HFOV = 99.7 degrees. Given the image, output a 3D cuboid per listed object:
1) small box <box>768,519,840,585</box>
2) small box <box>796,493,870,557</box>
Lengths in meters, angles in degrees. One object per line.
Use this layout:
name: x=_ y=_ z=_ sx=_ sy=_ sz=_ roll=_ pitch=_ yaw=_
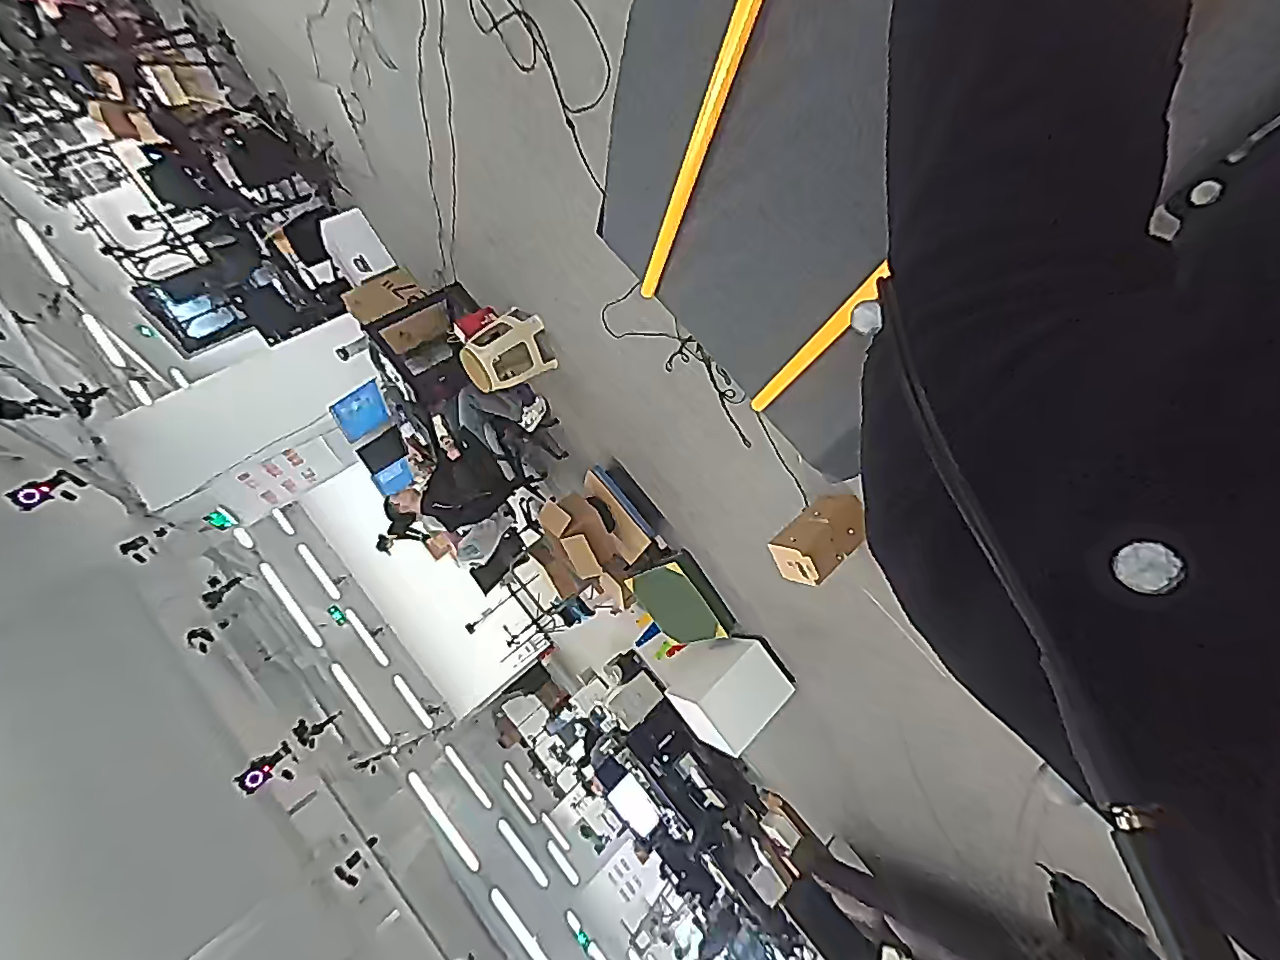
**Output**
small box: x=0.617 y=0.262 z=2.010 sx=0.179 sy=0.176 sz=0.168 roll=5 pitch=126 yaw=61
small box: x=0.742 y=0.169 z=2.065 sx=0.179 sy=0.176 sz=0.168 roll=59 pitch=156 yaw=-12
